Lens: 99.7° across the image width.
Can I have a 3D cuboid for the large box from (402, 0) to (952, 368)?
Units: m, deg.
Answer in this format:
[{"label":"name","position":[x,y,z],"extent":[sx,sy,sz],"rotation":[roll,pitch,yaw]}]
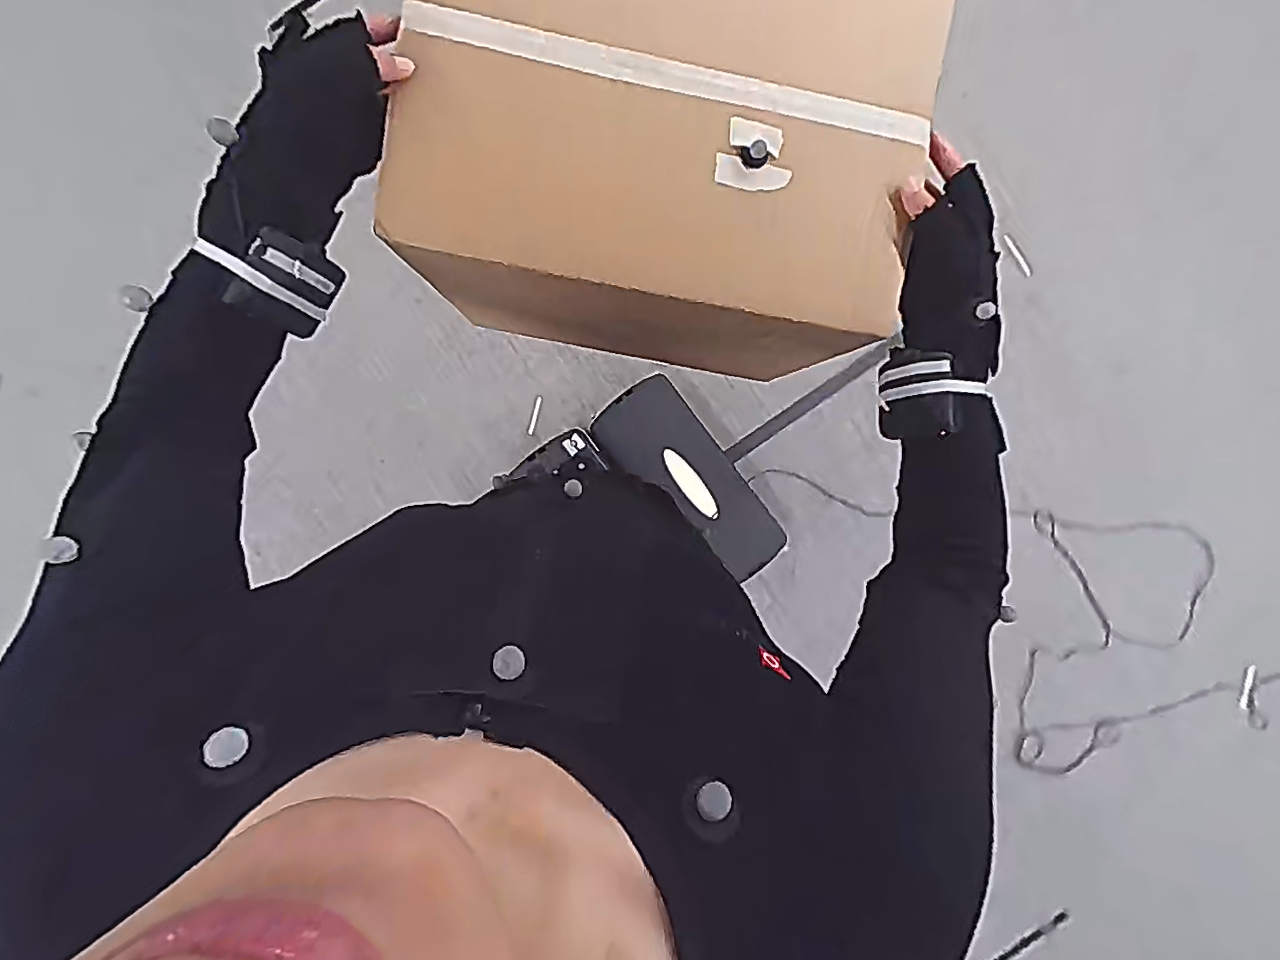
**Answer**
[{"label":"large box","position":[0.022,-0.320,0.565],"extent":[0.408,0.320,0.320],"rotation":[10,94,-6]}]
